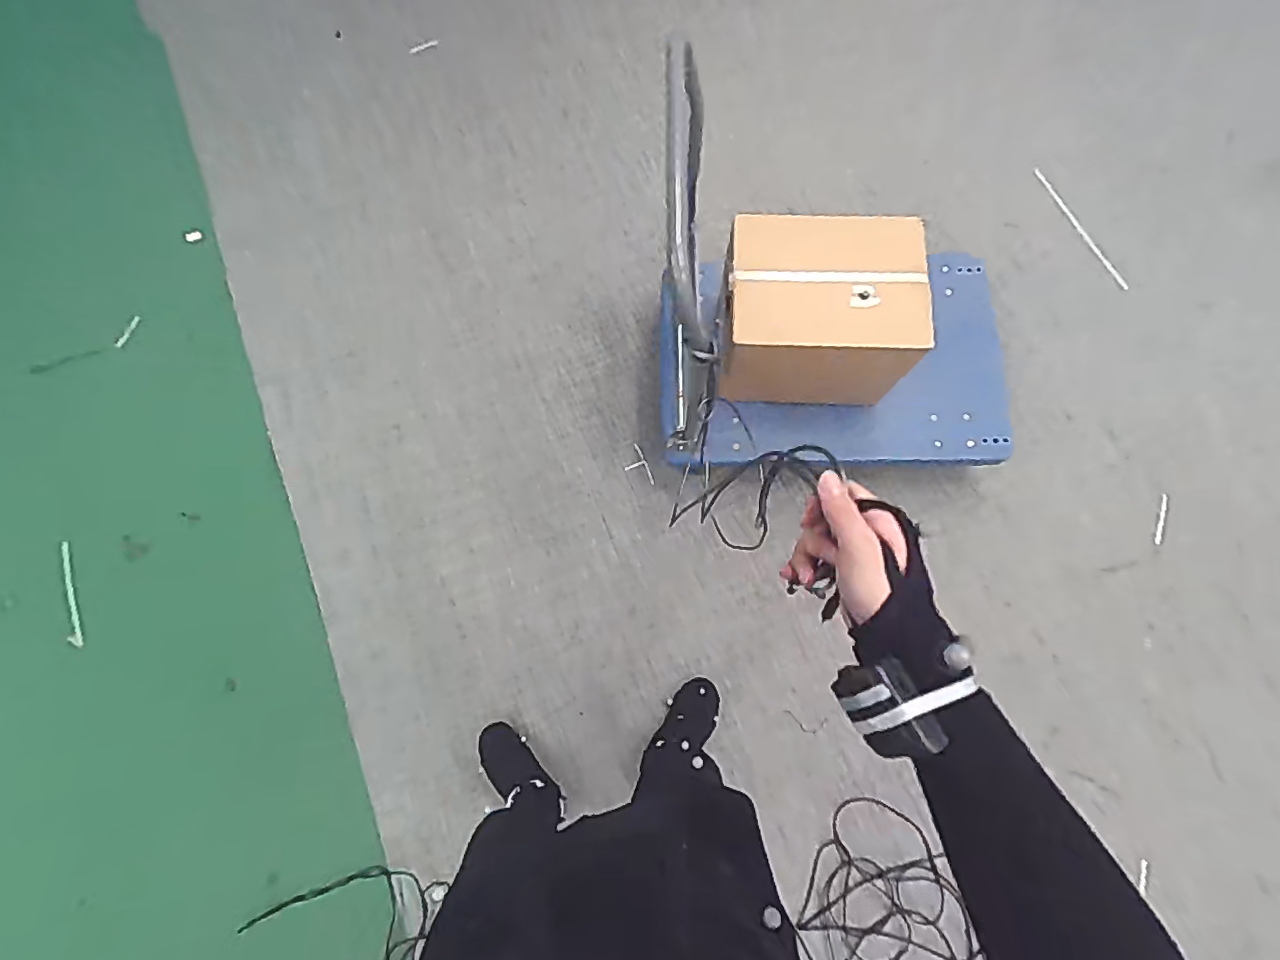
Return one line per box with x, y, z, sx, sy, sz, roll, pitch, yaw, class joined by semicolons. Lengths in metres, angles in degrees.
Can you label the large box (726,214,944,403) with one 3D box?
0.419;-0.381;1.264;0.408;0.320;0.320;3;77;2;large box
